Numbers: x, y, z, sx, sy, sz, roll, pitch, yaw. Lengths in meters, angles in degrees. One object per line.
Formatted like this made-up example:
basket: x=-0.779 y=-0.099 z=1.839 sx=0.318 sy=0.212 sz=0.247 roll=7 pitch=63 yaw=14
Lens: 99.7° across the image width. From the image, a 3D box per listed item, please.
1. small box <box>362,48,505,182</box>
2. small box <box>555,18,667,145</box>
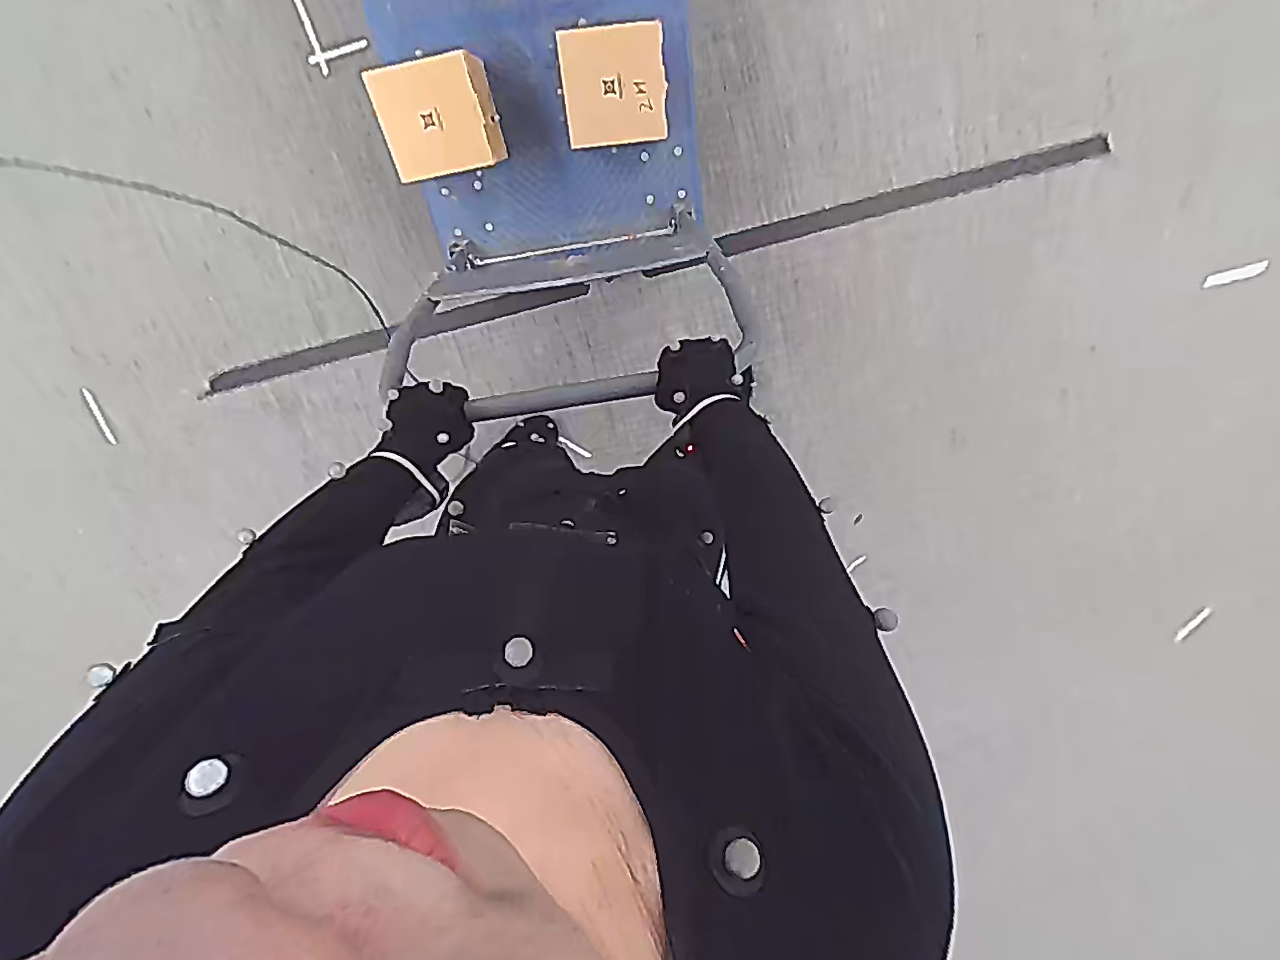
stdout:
small box: x=-0.361 y=-0.655 z=0.984 sx=0.179 sy=0.176 sz=0.168 roll=-13 pitch=123 yaw=2
small box: x=-0.049 y=-0.708 z=0.976 sx=0.179 sy=0.176 sz=0.168 roll=-7 pitch=124 yaw=0
